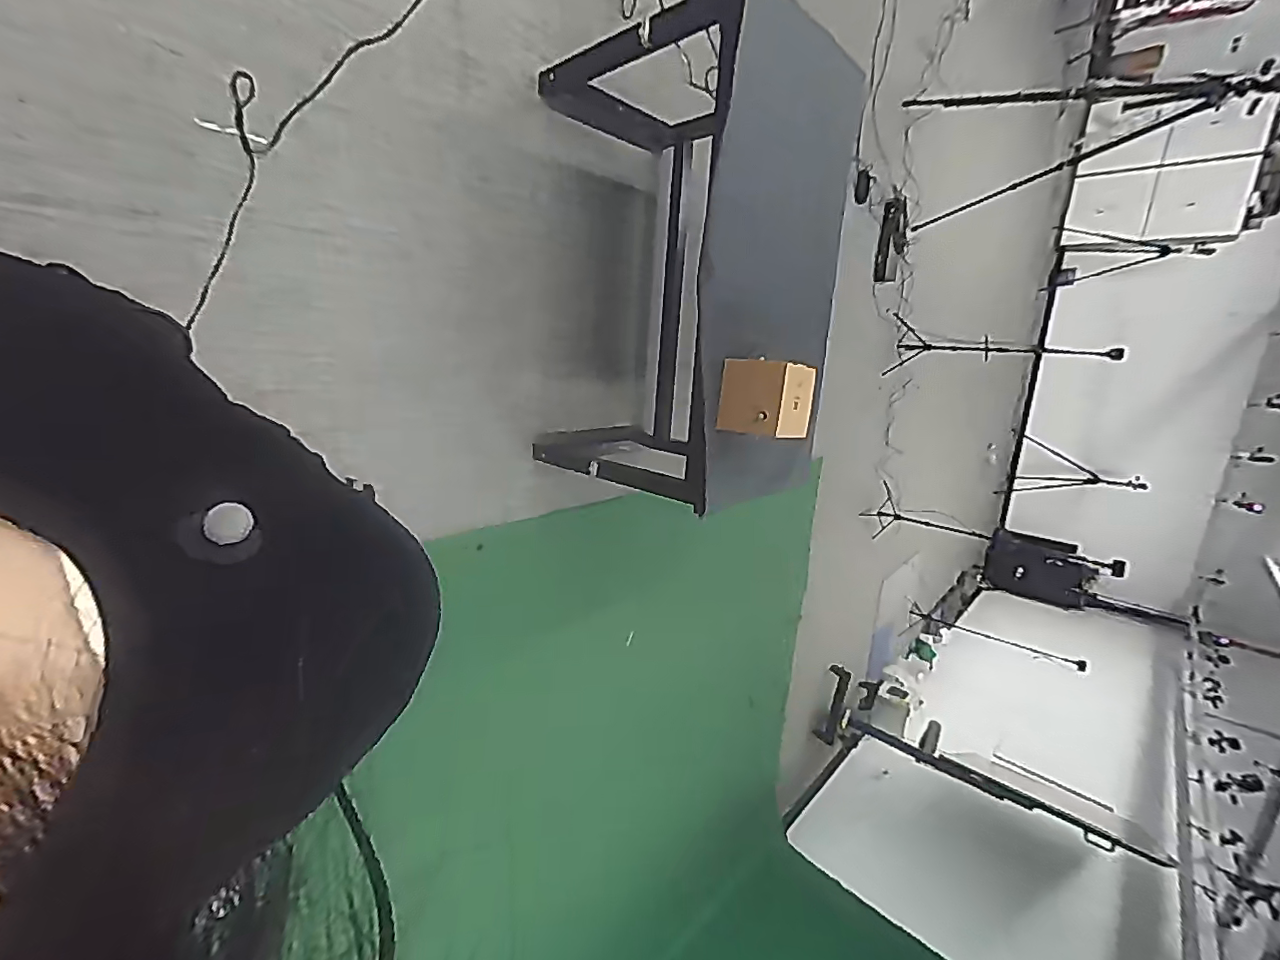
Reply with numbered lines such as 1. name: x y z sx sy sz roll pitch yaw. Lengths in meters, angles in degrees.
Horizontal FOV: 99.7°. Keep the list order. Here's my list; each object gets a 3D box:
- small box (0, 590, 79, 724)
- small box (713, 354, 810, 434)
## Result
1. small box: -1.118 0.312 0.957 0.168 0.176 0.179 0 99 -49
2. small box: 0.299 -0.213 1.344 0.168 0.176 0.179 -5 104 -50
